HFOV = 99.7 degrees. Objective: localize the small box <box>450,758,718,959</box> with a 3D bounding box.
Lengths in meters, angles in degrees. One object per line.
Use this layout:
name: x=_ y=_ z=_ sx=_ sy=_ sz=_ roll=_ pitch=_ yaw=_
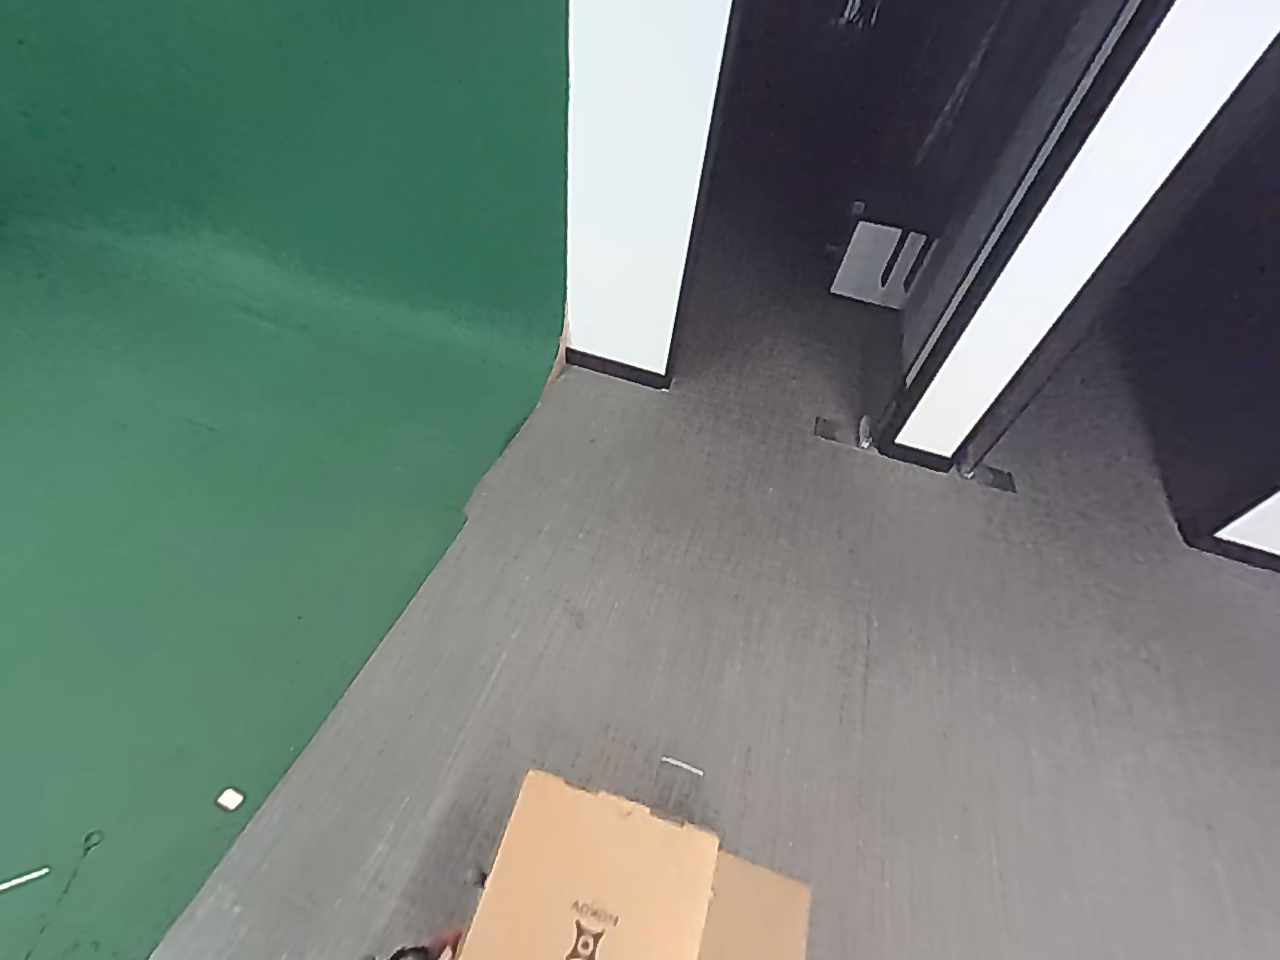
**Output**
small box: x=-0.053 y=0.355 z=0.453 sx=0.168 sy=0.176 sz=0.179 roll=21 pitch=58 yaw=-2
